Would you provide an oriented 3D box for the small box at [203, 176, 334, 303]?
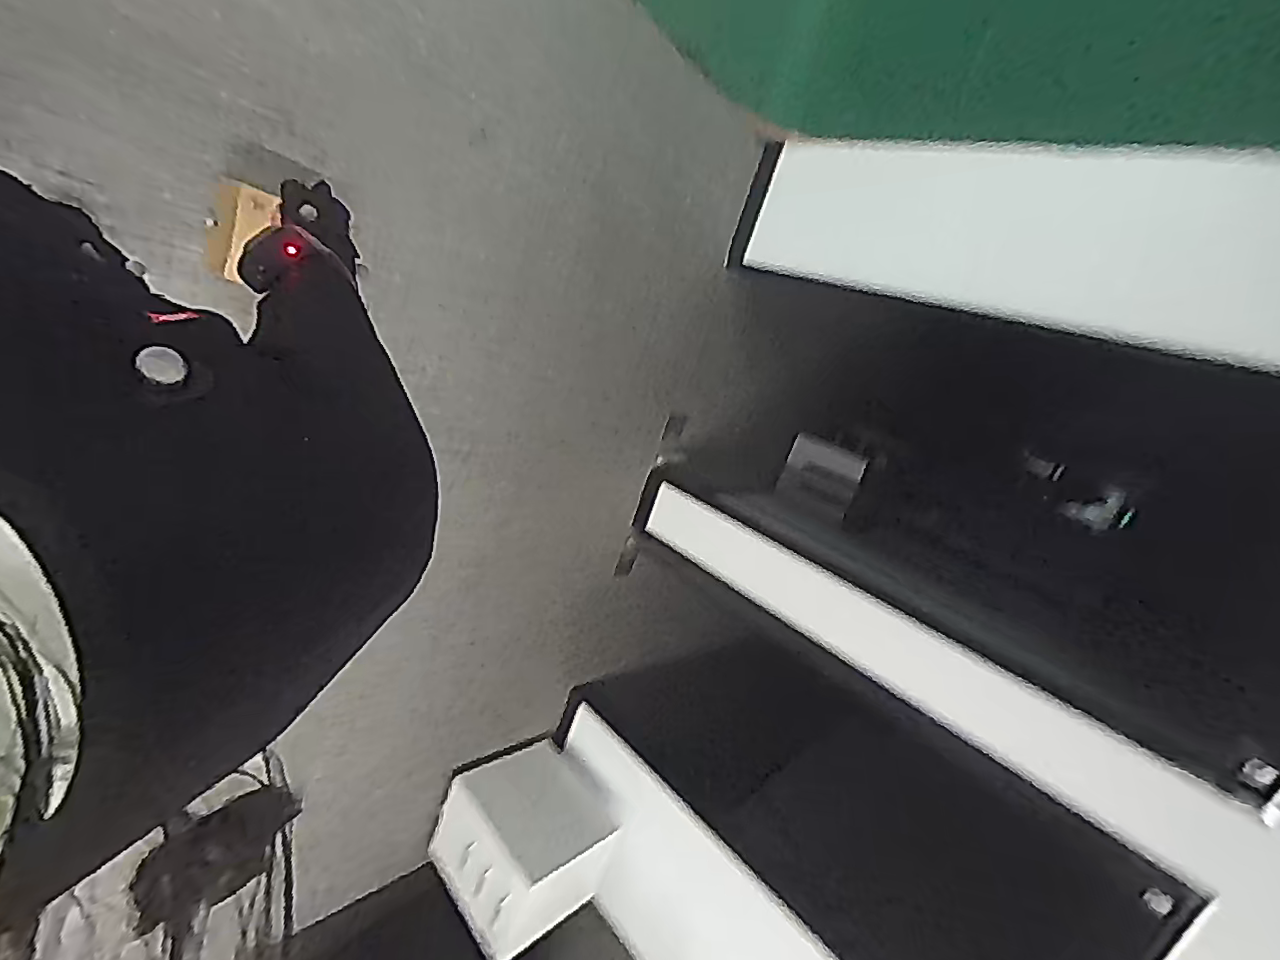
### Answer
[{"bbox_3d":[-0.753,-0.484,1.090,0.168,0.176,0.179,7,109,-52],"label":"small box"}]
